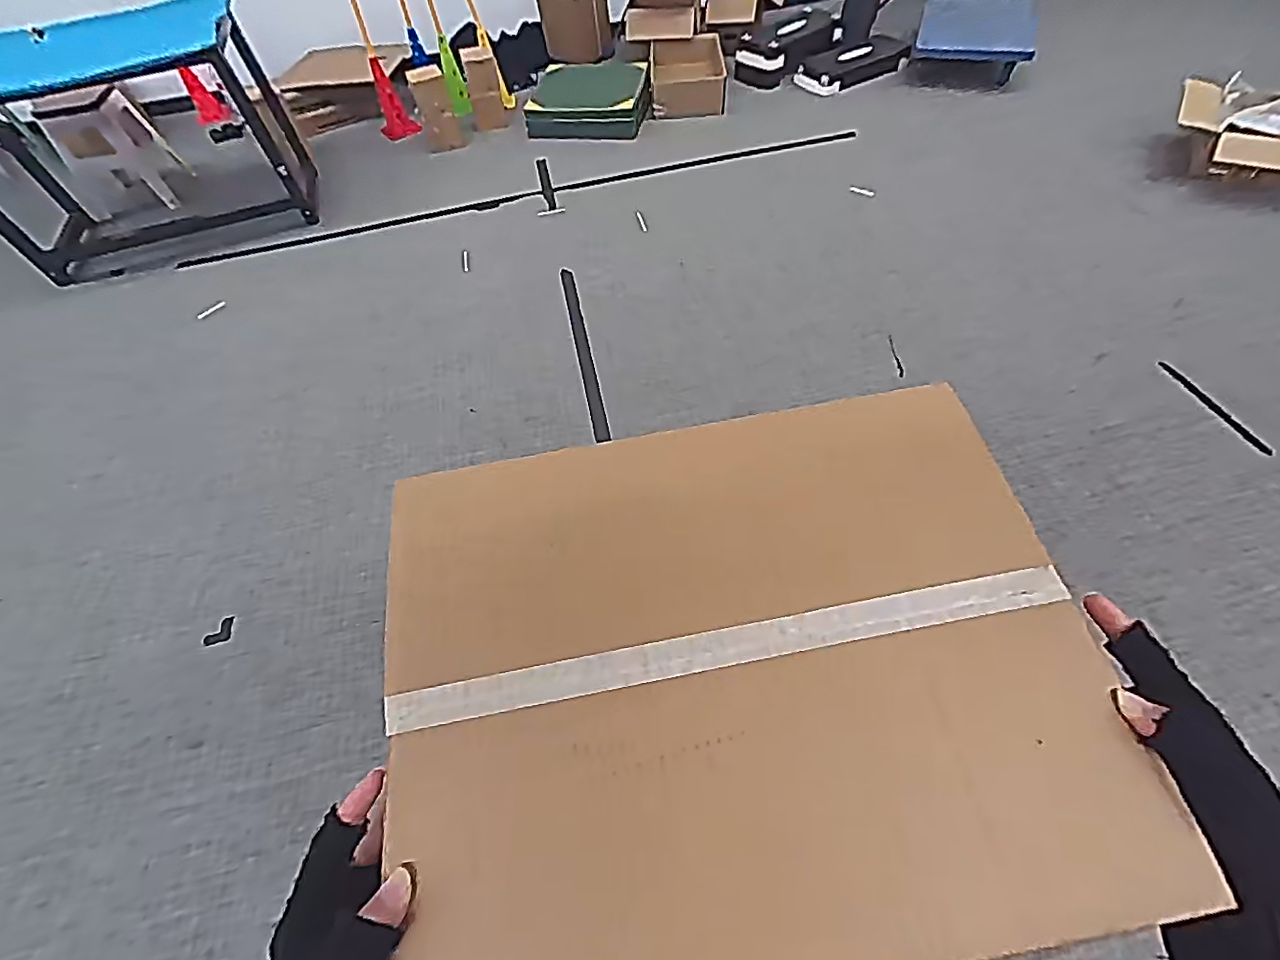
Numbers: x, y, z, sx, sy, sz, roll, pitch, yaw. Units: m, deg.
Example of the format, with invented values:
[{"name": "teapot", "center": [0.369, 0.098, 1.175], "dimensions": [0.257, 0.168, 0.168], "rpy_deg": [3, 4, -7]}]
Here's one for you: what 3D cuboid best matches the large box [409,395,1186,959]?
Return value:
[{"name": "large box", "center": [0.063, 0.174, 0.464], "dimensions": [0.408, 0.320, 0.320], "rpy_deg": [-11, 63, -2]}]
